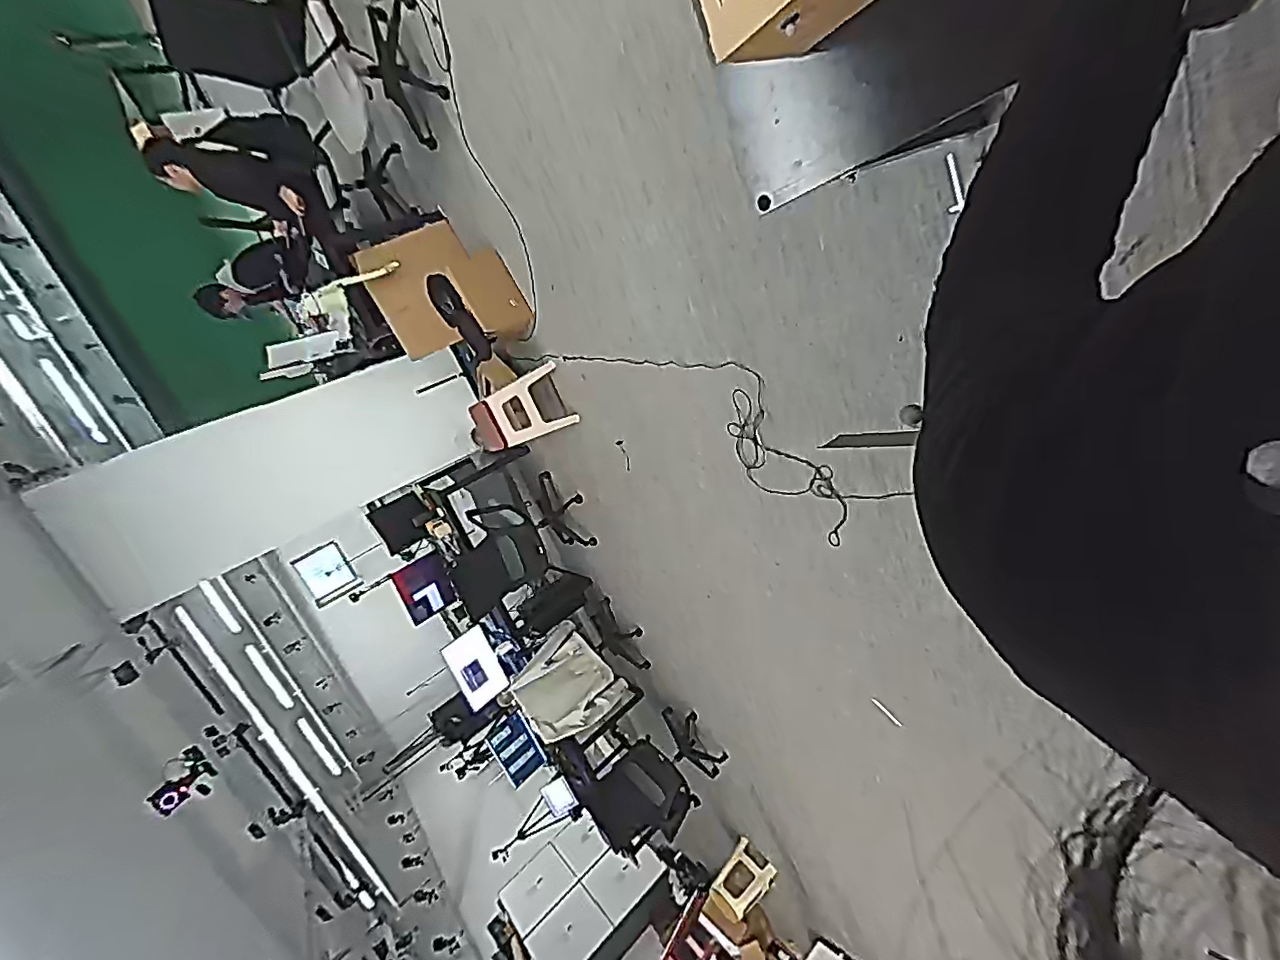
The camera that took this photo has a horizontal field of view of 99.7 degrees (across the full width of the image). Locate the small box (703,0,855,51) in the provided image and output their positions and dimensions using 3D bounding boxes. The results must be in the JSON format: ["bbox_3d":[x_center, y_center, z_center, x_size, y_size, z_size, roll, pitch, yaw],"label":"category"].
[{"bbox_3d":[0.170,-0.604,0.579,0.179,0.176,0.168,1,119,54],"label":"small box"}]
